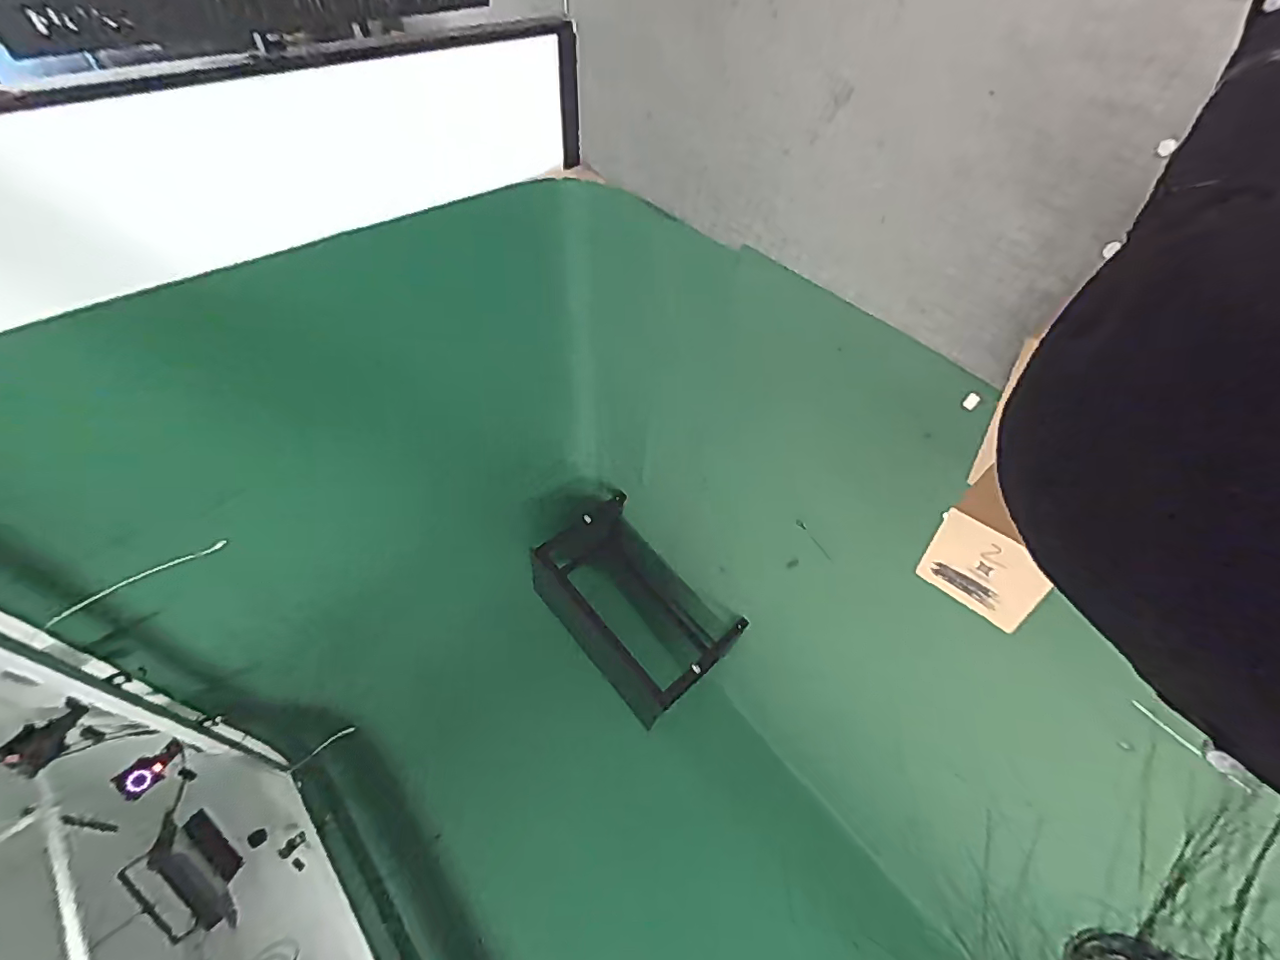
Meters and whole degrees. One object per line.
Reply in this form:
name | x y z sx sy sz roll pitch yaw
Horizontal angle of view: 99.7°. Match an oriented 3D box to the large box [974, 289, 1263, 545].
large box | 1.010 -0.148 1.182 0.320 0.320 0.408 35 147 38
